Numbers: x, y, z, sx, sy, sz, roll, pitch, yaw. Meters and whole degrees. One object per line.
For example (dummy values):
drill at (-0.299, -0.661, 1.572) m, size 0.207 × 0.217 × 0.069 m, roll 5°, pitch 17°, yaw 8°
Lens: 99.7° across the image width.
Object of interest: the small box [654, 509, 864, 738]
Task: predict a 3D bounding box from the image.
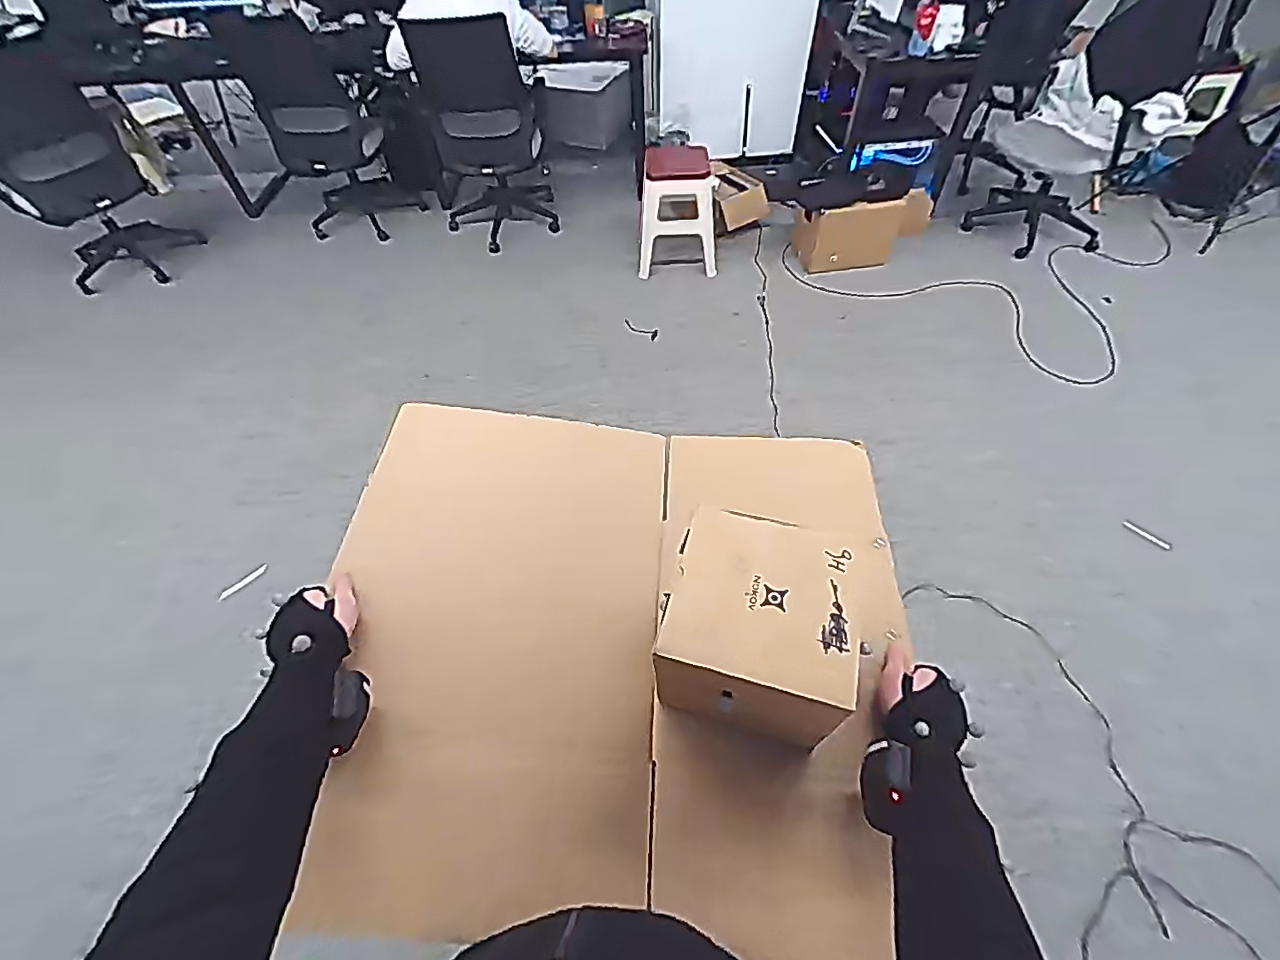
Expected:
small box at (0.124, 0.157, 0.578) m, size 0.179 × 0.176 × 0.168 m, roll 11°, pitch 56°, yaw 13°
